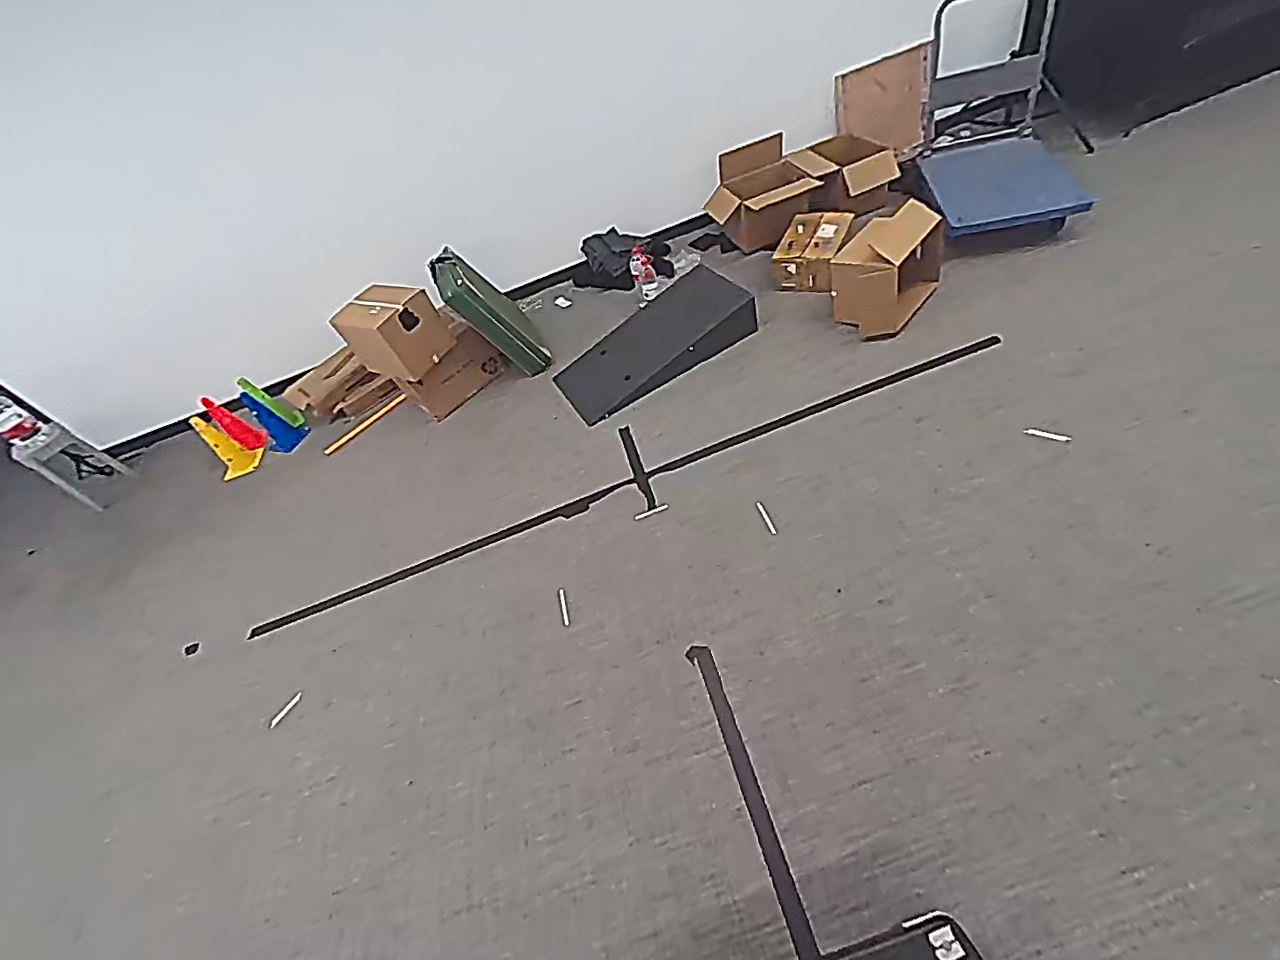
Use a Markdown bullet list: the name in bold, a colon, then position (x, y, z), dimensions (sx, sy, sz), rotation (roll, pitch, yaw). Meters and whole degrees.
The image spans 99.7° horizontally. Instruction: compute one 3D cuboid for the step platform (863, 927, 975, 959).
- **step platform**: position (0.369, 1.128, 1.015), dimensions (0.684, 0.204, 0.286), rotation (-21, 48, -1)
